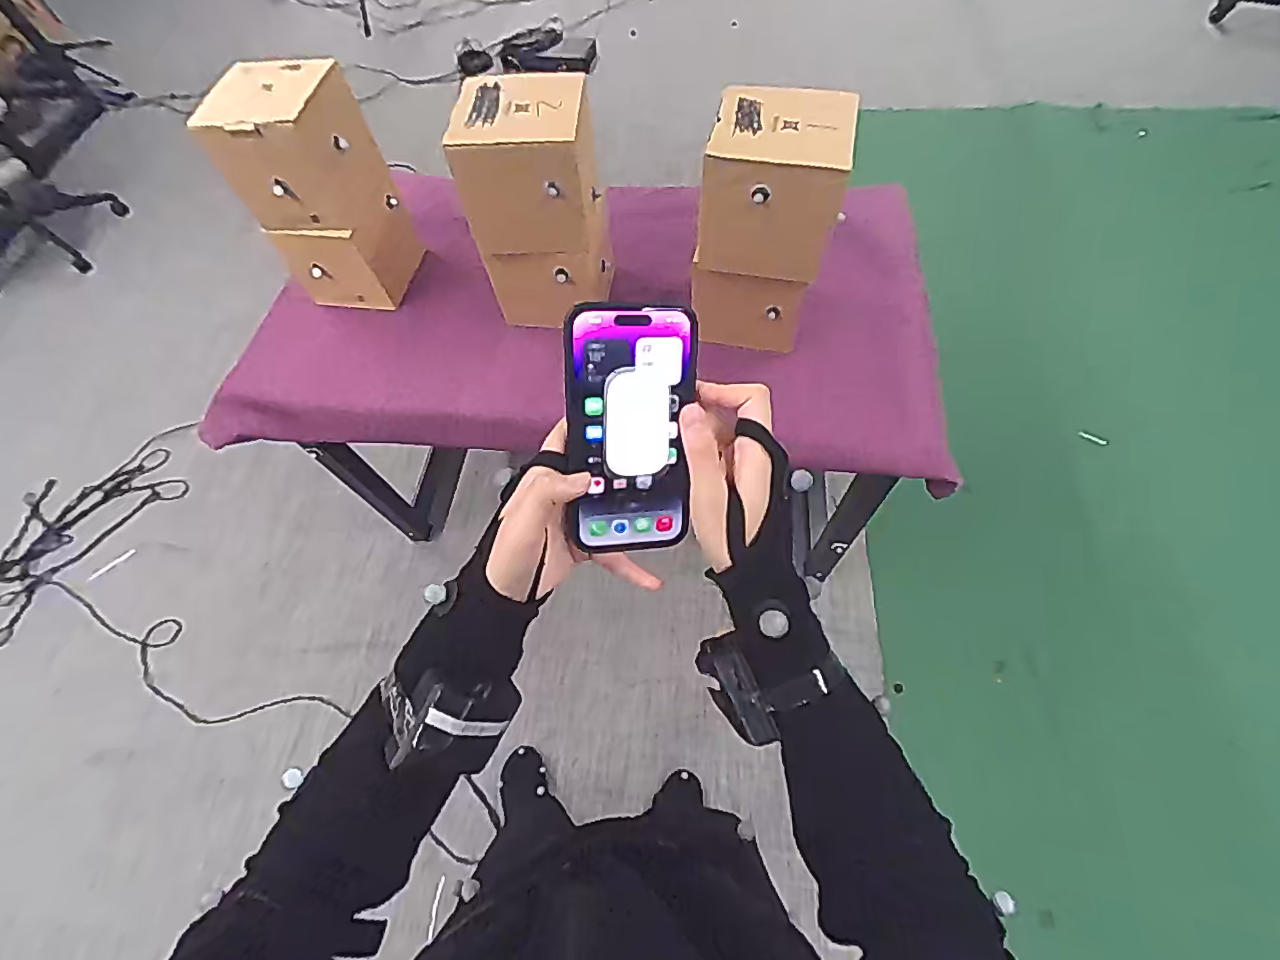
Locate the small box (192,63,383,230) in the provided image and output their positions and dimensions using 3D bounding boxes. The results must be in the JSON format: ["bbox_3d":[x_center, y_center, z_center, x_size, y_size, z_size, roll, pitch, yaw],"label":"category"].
[{"bbox_3d":[-0.541,-0.522,0.863,0.168,0.176,0.179,1,62,5],"label":"small box"}]

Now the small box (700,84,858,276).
[{"bbox_3d":[0.181,-0.404,0.739,0.179,0.176,0.168,11,62,10],"label":"small box"}]

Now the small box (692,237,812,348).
[{"bbox_3d":[0.187,-0.339,0.890,0.179,0.176,0.168,11,62,11],"label":"small box"}]

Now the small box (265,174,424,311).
[{"bbox_3d":[-0.530,-0.436,1.002,0.168,0.176,0.179,6,62,8],"label":"small box"}]

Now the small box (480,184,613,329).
[{"bbox_3d":[-0.148,-0.383,0.940,0.179,0.176,0.168,5,62,8],"label":"small box"}]
